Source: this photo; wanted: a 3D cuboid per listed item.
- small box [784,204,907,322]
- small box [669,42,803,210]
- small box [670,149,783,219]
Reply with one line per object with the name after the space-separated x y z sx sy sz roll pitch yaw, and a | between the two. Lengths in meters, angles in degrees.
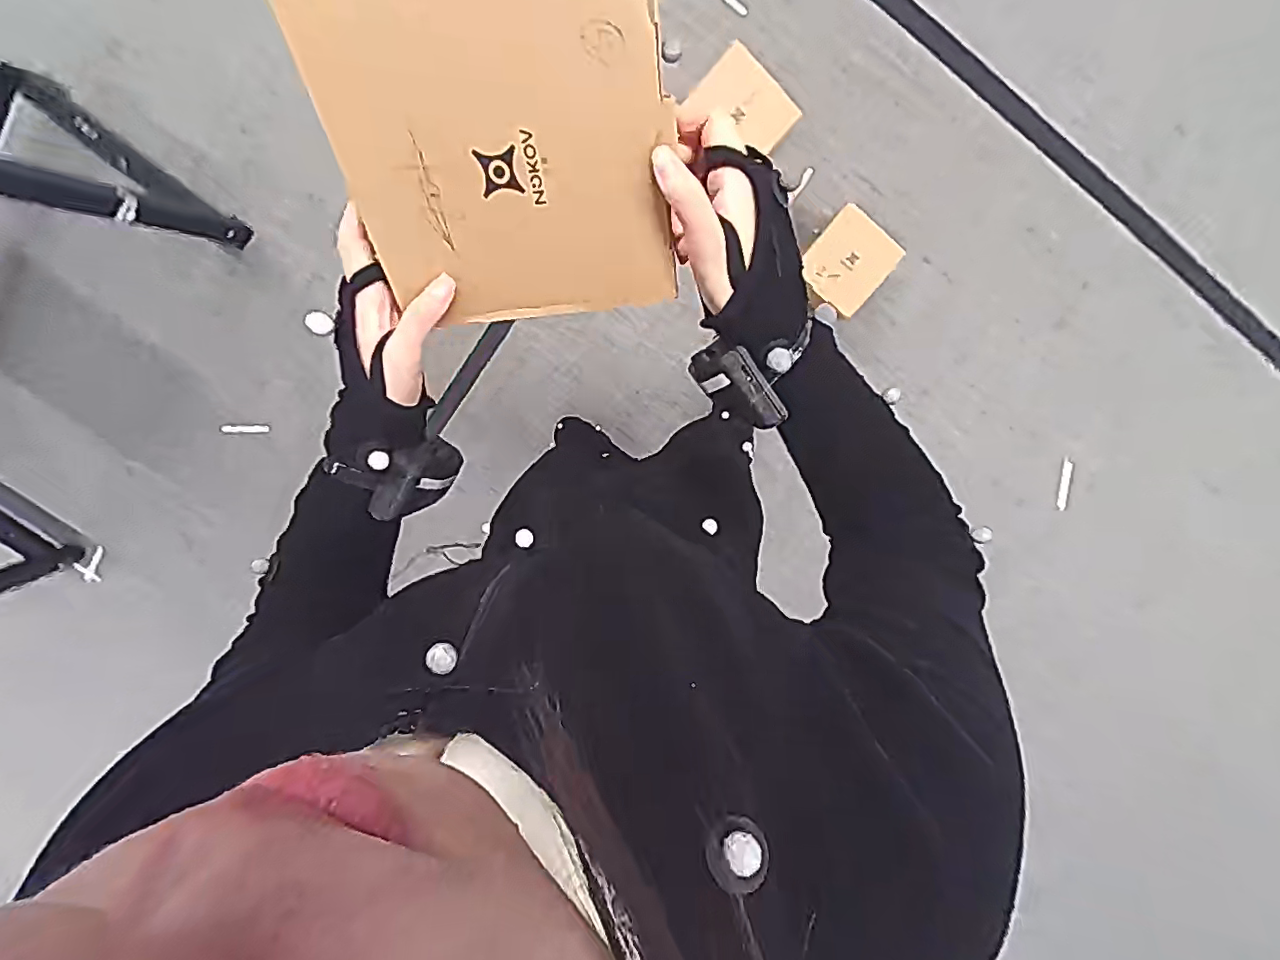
0.449 -0.477 1.218 0.168 0.176 0.179 39 104 -7 | small box
0.172 -0.646 1.016 0.168 0.176 0.179 44 103 -9 | small box
0.181 -0.696 1.173 0.179 0.176 0.168 39 104 -8 | small box
